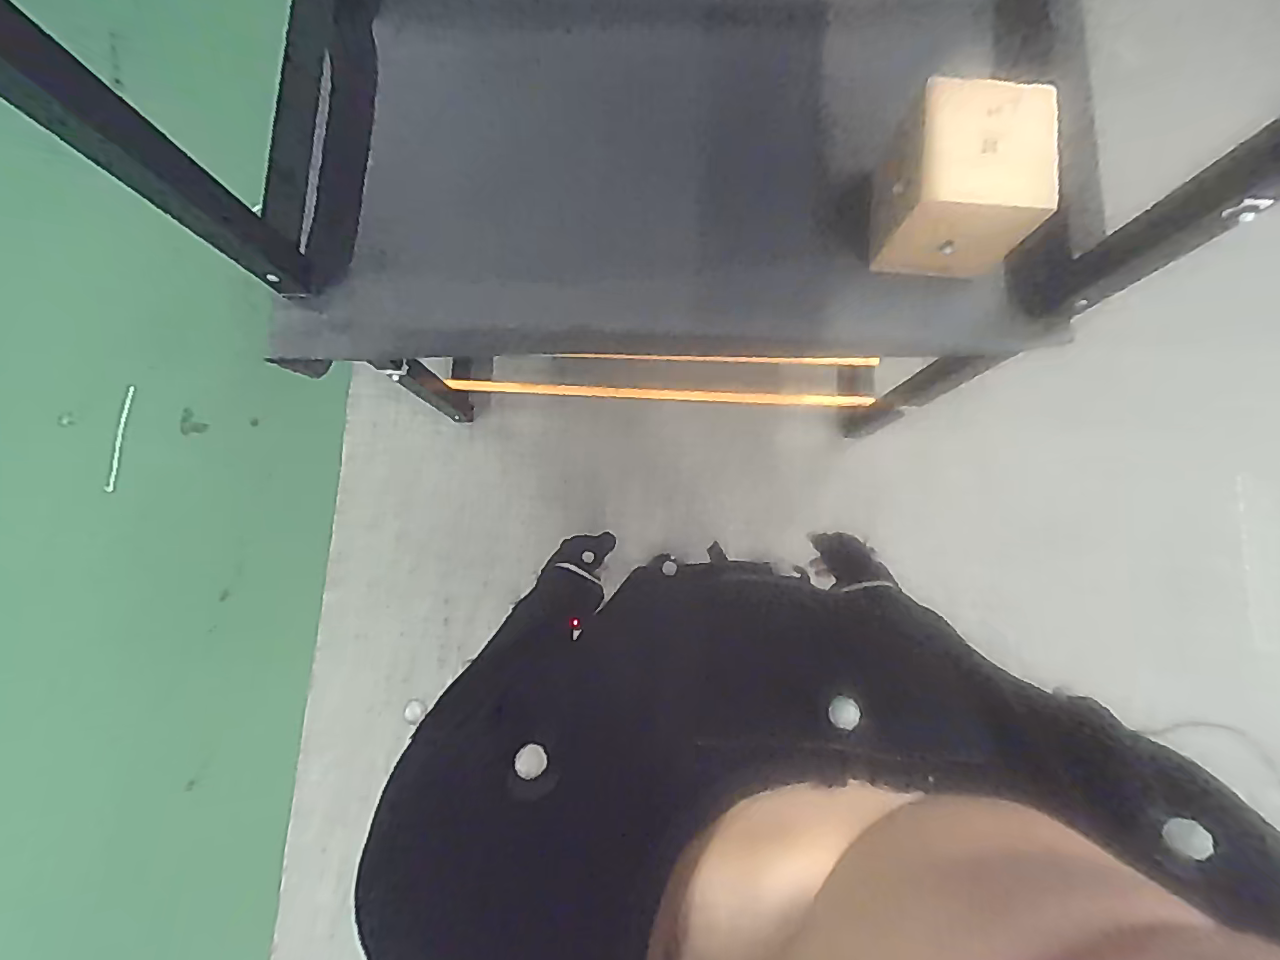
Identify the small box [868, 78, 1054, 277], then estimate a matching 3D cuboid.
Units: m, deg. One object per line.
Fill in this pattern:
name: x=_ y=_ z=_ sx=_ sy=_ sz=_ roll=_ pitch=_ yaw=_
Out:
small box: x=0.432 y=-0.407 z=0.752 sx=0.168 sy=0.176 sz=0.179 roll=6 pitch=81 yaw=2
